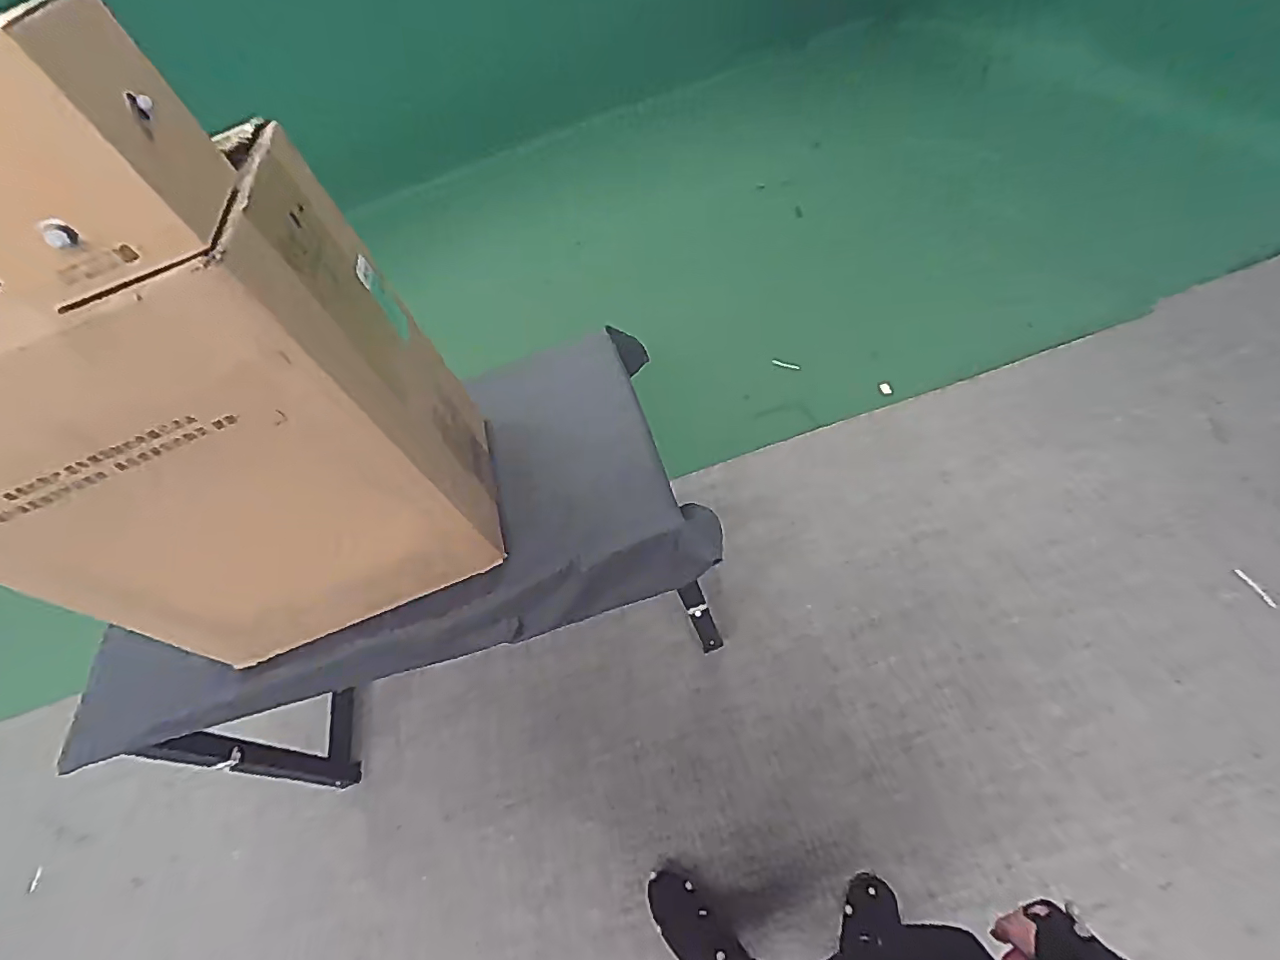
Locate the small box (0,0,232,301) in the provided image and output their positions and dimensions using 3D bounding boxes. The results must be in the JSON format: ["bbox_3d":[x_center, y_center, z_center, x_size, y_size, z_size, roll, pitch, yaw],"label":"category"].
[{"bbox_3d":[-0.508,-0.293,0.477,0.168,0.176,0.179,-22,54,0],"label":"small box"}]
